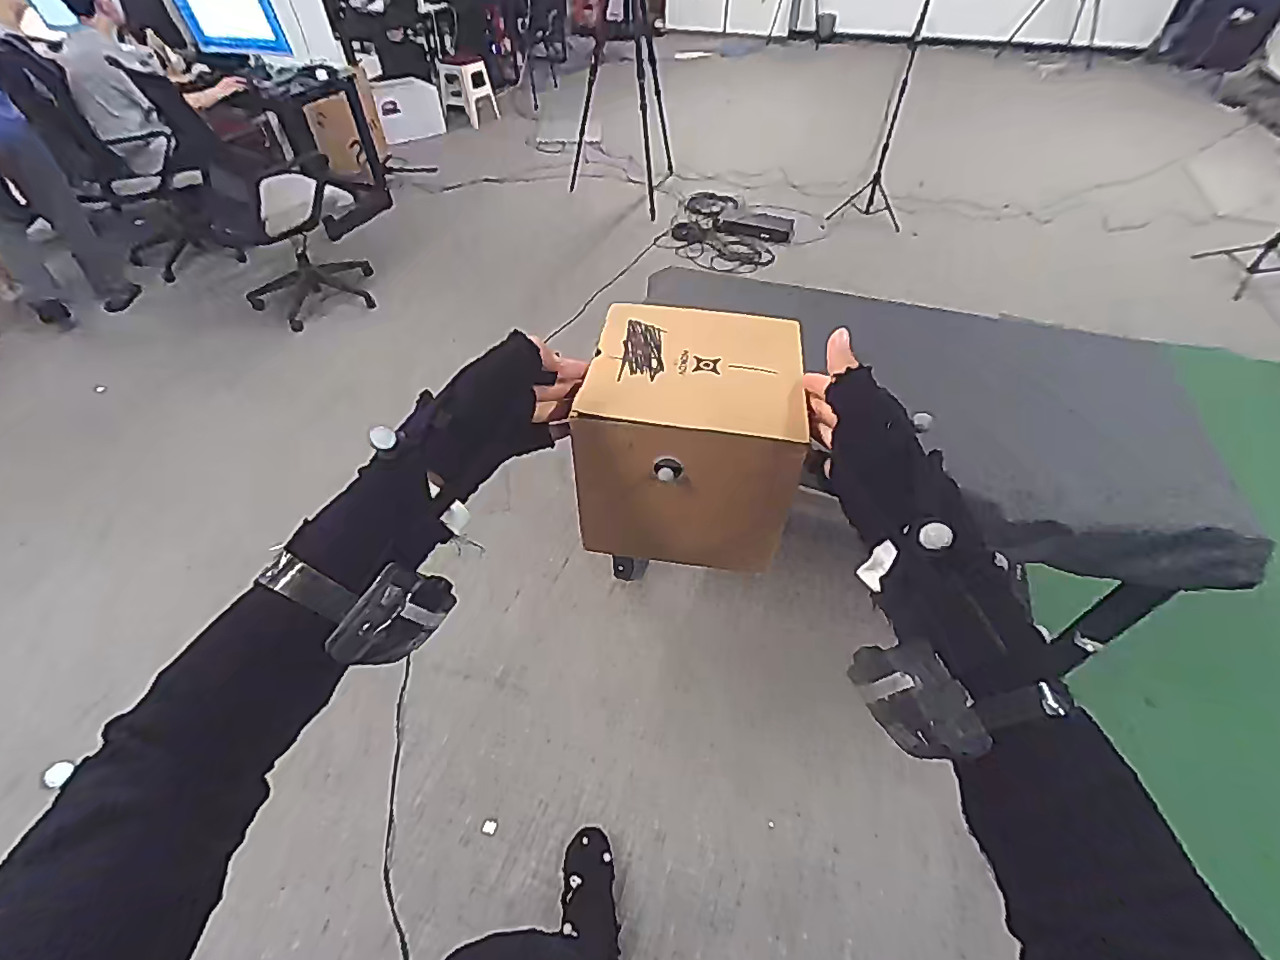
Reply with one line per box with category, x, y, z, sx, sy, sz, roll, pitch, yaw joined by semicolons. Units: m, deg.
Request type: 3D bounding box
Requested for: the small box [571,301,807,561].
small box;0.045;-0.043;0.502;0.179;0.176;0.168;8;47;5
